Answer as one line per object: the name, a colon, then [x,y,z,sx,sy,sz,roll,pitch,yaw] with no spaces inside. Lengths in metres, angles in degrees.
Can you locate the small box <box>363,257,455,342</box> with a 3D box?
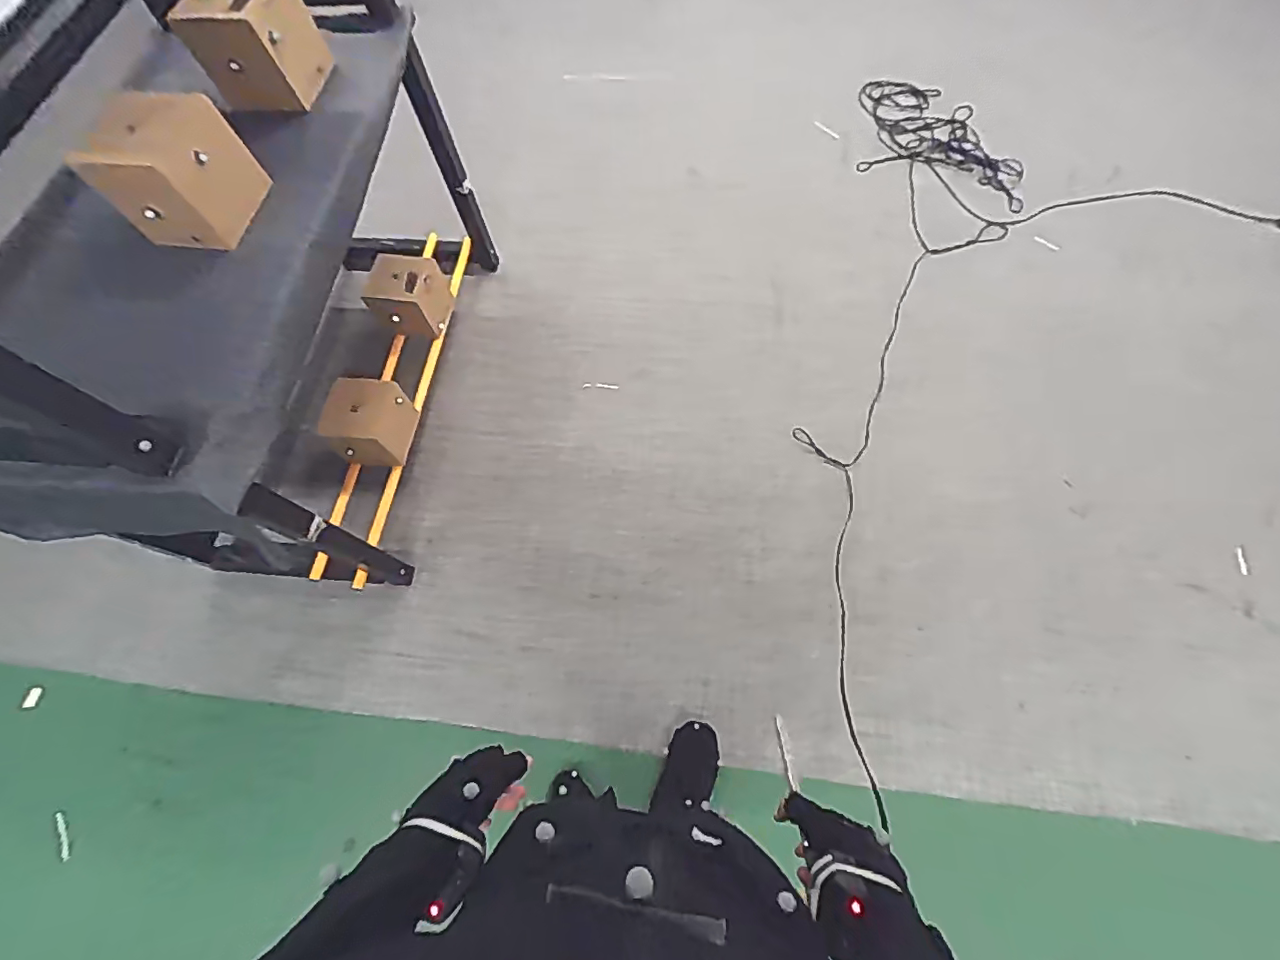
small box: [-0.681,-0.535,1.619,0.179,0.176,0.168,8,67,7]

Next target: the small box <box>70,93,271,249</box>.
small box: [-0.795,-0.531,0.941,0.168,0.176,0.179,7,67,7]
